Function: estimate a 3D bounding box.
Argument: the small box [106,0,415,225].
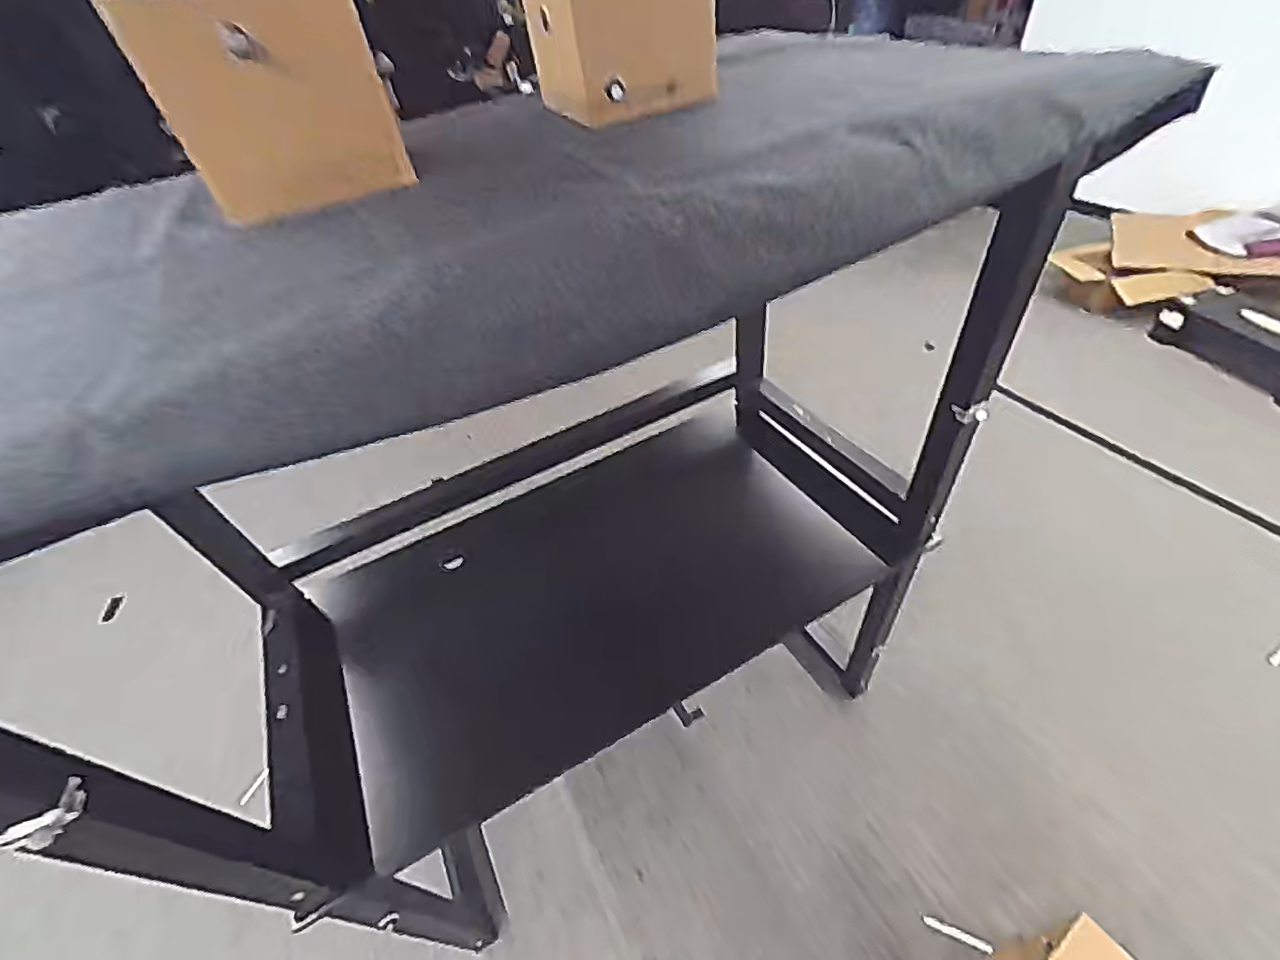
[{"bbox_3d":[-0.335,-0.373,0.522,0.179,0.176,0.168,-22,47,-11],"label":"small box"}]

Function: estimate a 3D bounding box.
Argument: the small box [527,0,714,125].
[{"bbox_3d":[-0.023,-0.534,0.629,0.168,0.176,0.179,-23,46,-13],"label":"small box"}]

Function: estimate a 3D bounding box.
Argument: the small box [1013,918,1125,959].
[{"bbox_3d":[0.752,0.900,0.924,0.179,0.176,0.168,-30,49,-19],"label":"small box"}]
